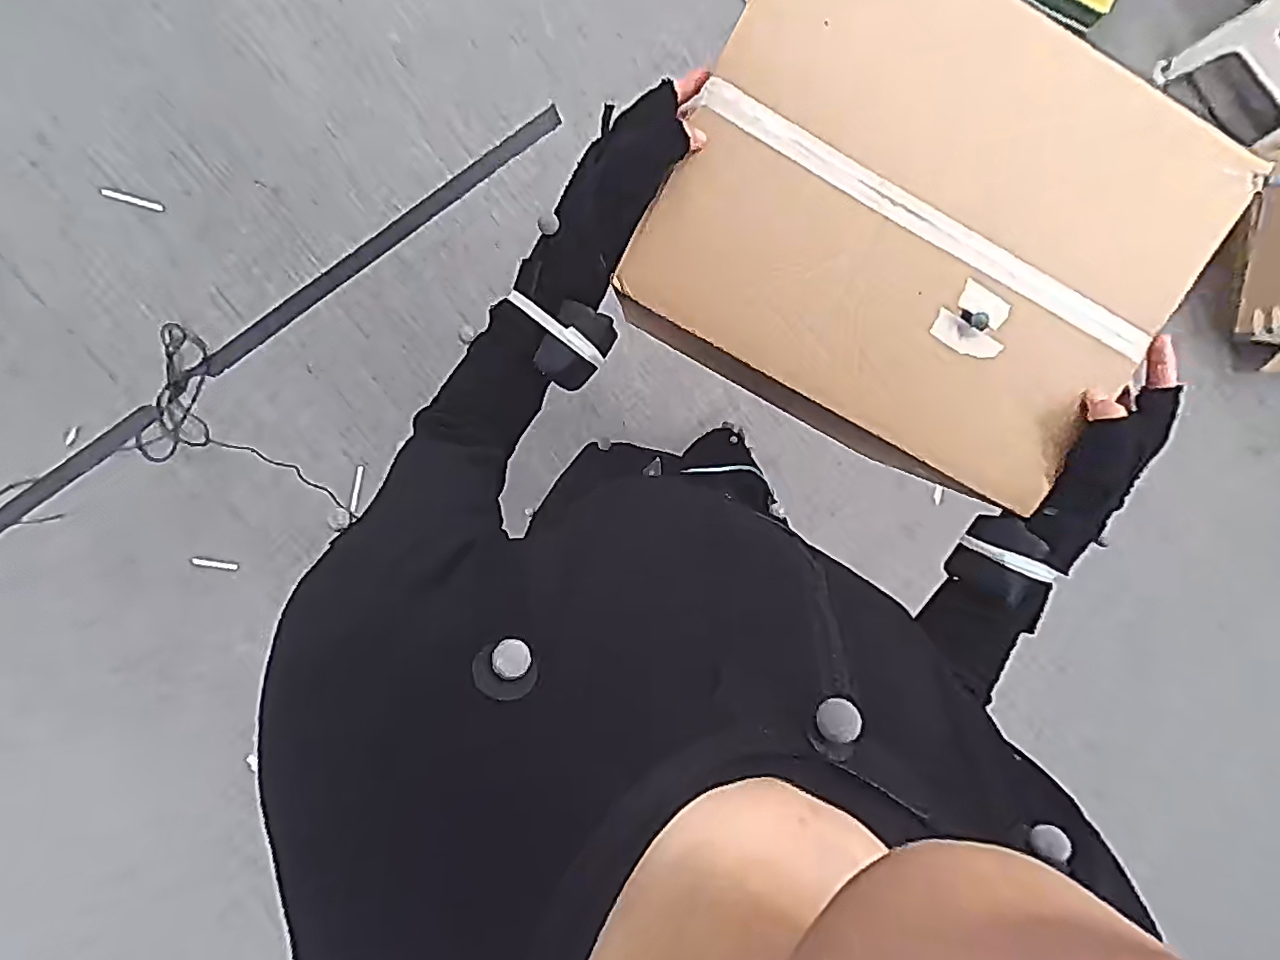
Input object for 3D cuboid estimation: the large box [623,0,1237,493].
[{"bbox_3d":[0.226,-0.236,0.579,0.408,0.320,0.320,28,101,-6],"label":"large box"}]
